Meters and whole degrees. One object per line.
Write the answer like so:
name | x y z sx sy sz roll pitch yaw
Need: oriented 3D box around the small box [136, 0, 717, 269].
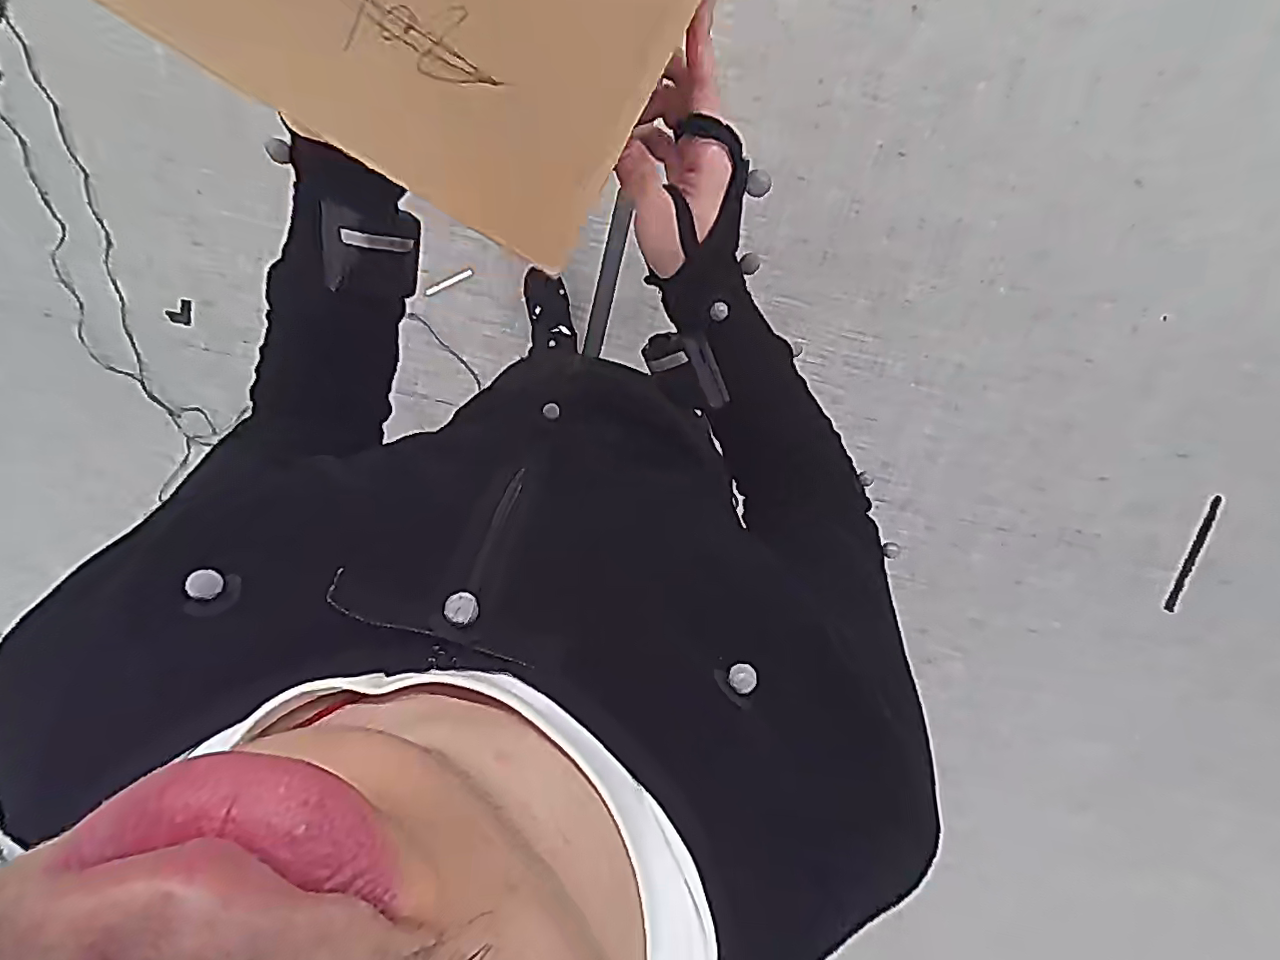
small box | -0.055 -0.226 0.229 0.168 0.176 0.179 27 118 -18
